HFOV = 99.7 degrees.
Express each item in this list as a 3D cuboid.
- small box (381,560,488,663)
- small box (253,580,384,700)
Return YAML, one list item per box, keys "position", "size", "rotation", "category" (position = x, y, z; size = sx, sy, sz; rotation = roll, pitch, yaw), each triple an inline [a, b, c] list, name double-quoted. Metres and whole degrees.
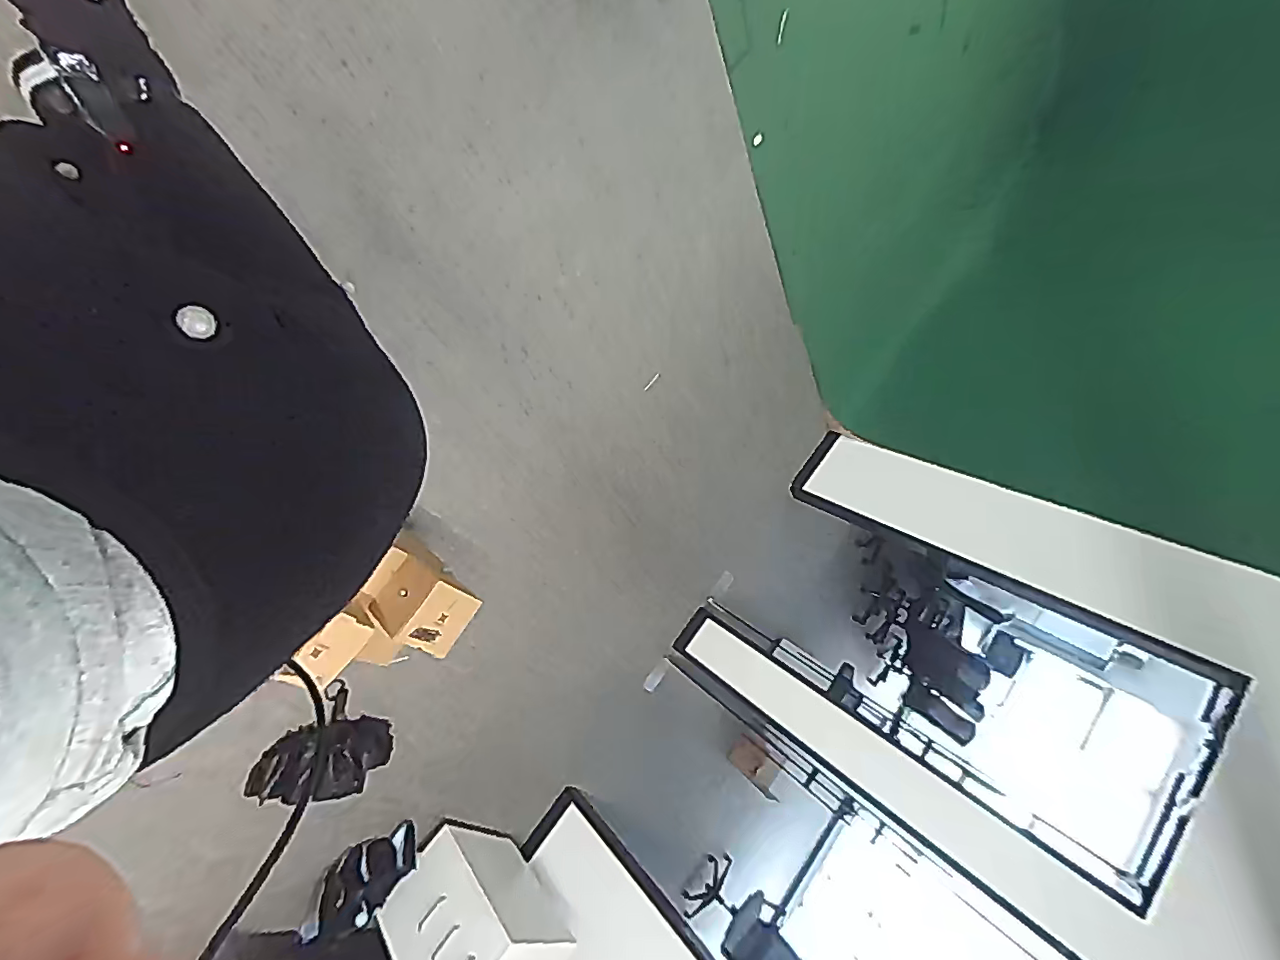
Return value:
- position: [-0.539, 0.339, 1.405]
  size: [0.179, 0.176, 0.168]
  rotation: [-57, 140, -13]
  category: "small box"
- position: [-0.724, 0.352, 1.212]
  size: [0.179, 0.176, 0.168]
  rotation: [-52, 139, -12]
  category: "small box"
